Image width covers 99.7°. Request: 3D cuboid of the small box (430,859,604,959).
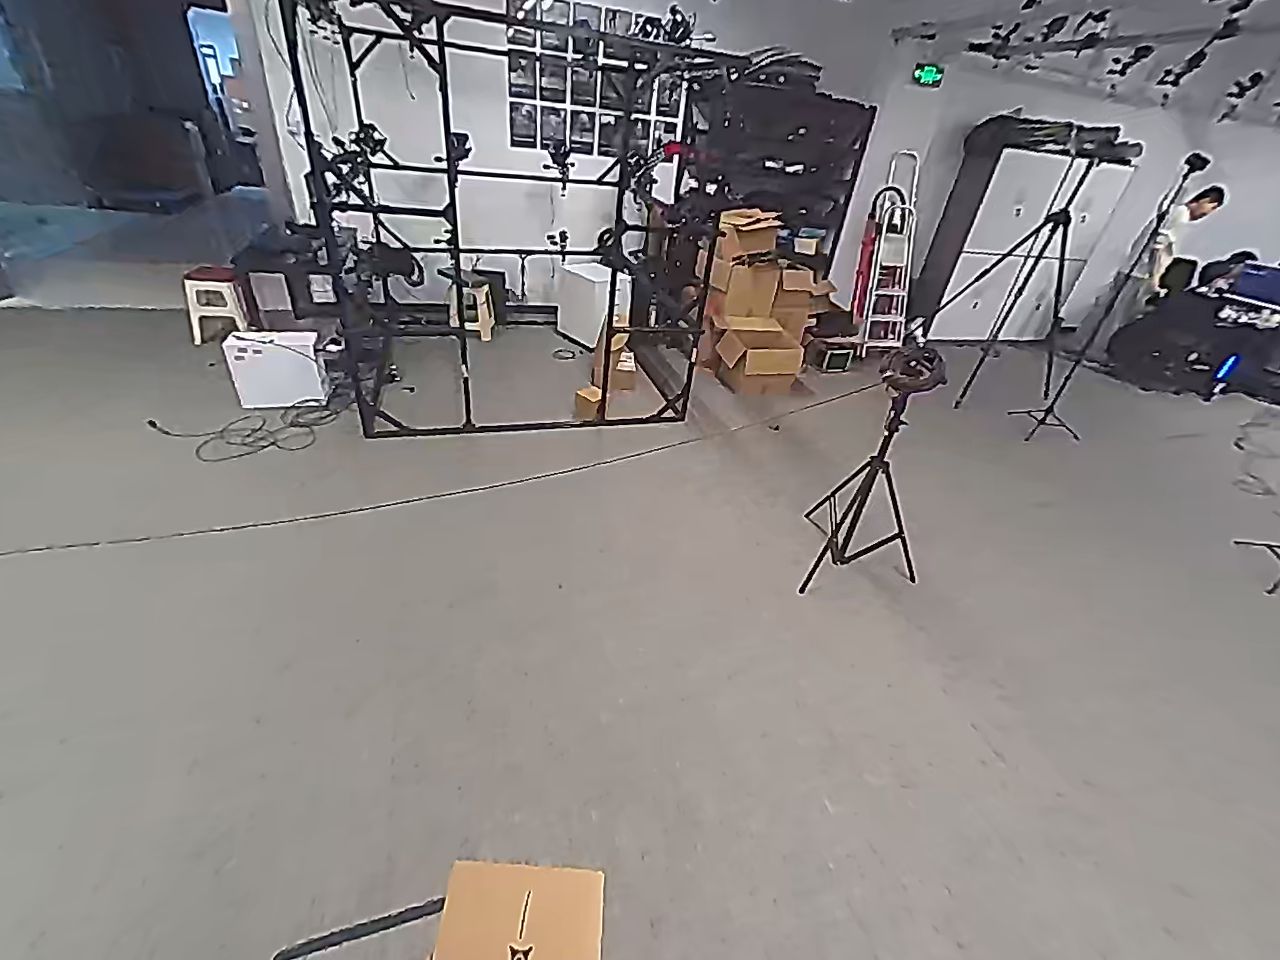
[{"bbox_3d":[-0.138,0.532,0.576,0.168,0.176,0.179,10,43,-8],"label":"small box"}]
